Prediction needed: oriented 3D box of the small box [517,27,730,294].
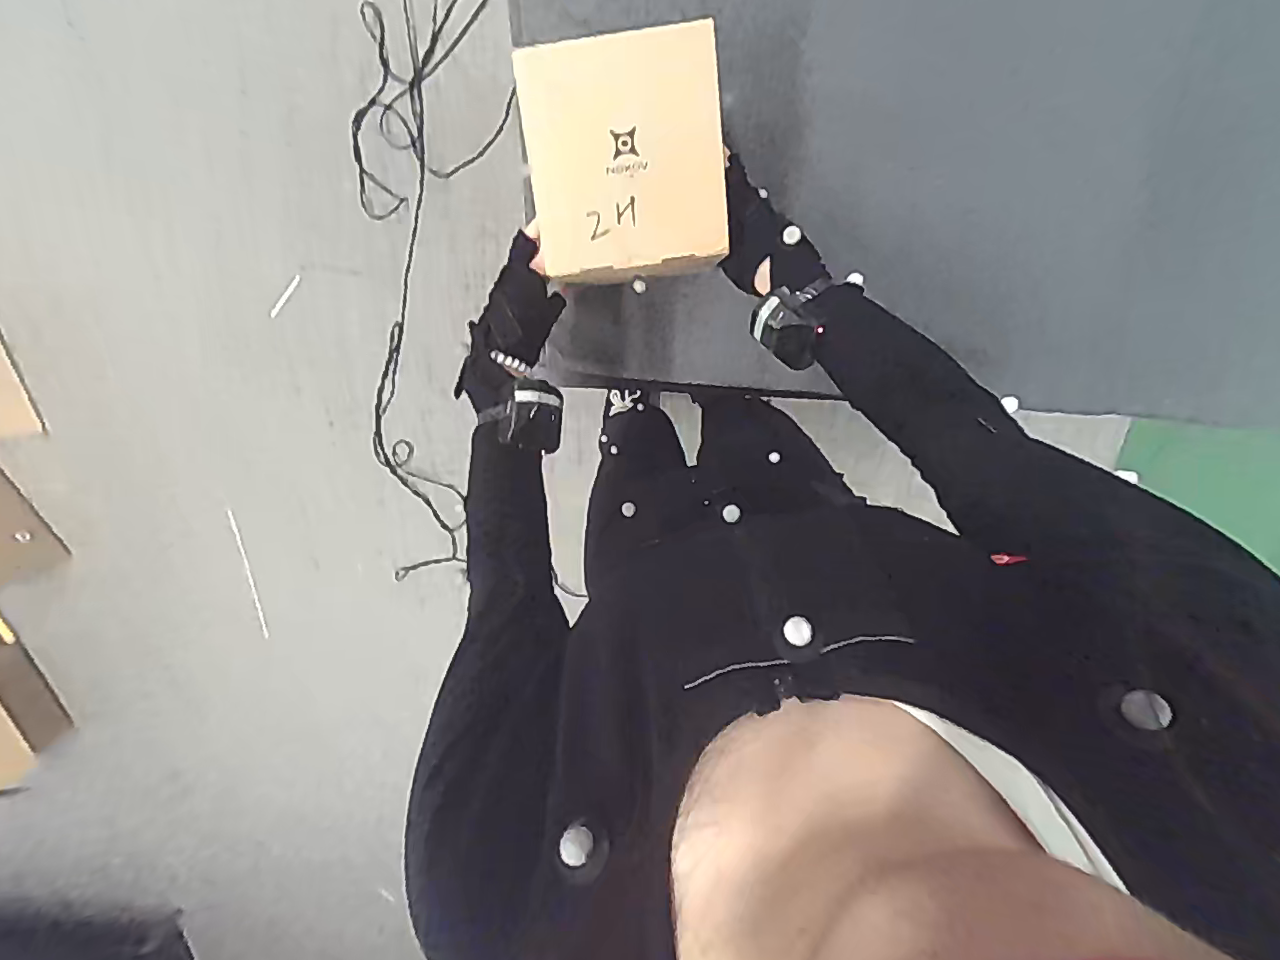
[{"bbox_3d":[-0.009,-0.289,0.531,0.168,0.176,0.179,-6,105,4],"label":"small box"}]
